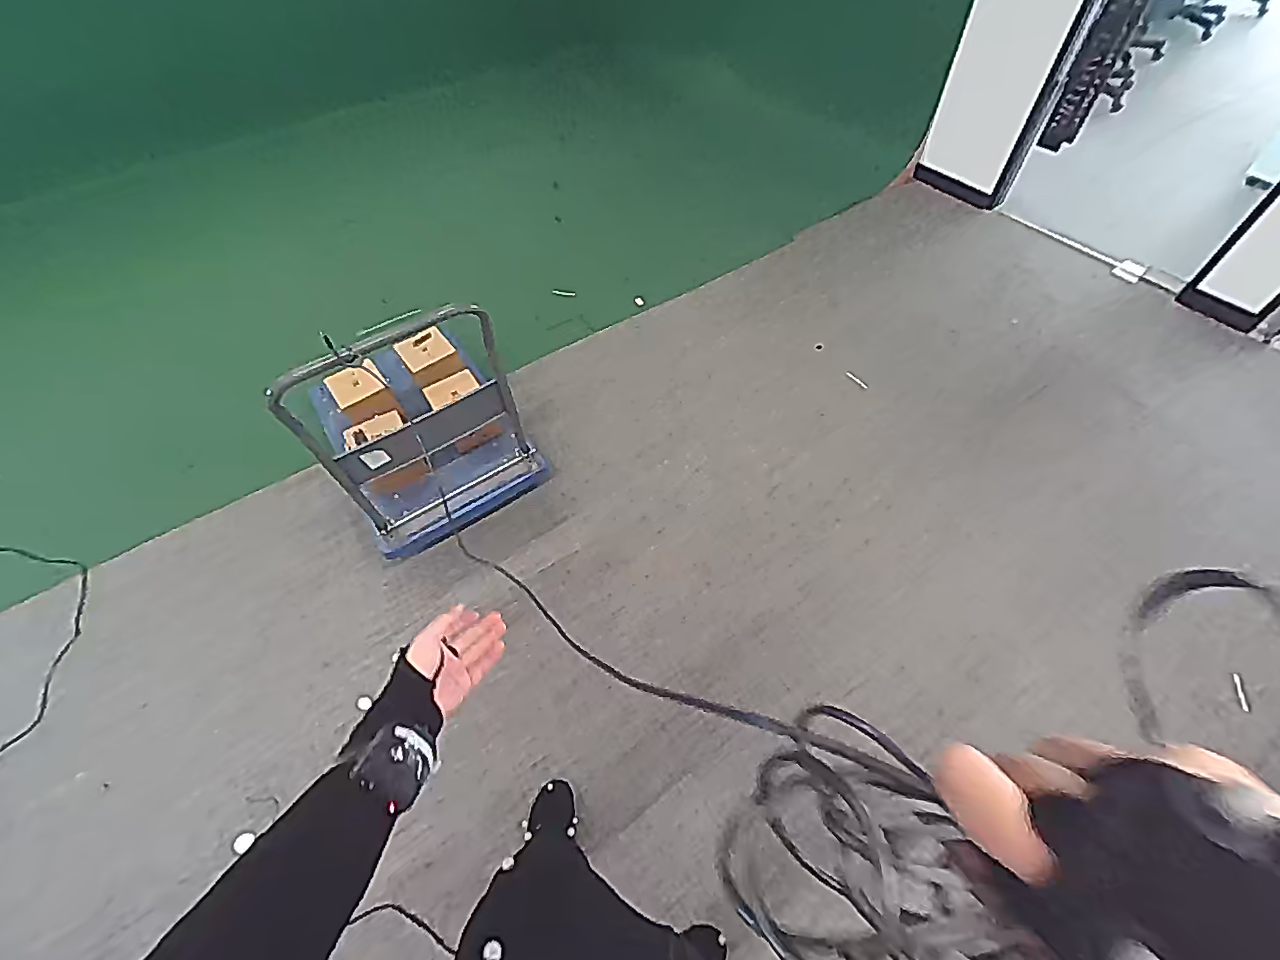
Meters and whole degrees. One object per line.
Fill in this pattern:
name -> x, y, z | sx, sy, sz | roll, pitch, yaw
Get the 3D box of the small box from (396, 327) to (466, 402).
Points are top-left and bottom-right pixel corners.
small box -> -0.741, -0.409, 1.947 | 0.168, 0.176, 0.179 | -34, 61, -18

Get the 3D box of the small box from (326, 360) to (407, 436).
small box -> -0.938, -0.275, 1.867 | 0.168, 0.176, 0.179 | -33, 60, -19

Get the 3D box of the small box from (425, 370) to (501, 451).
small box -> -0.590, -0.229, 1.814 | 0.168, 0.176, 0.179 | -30, 59, -16
